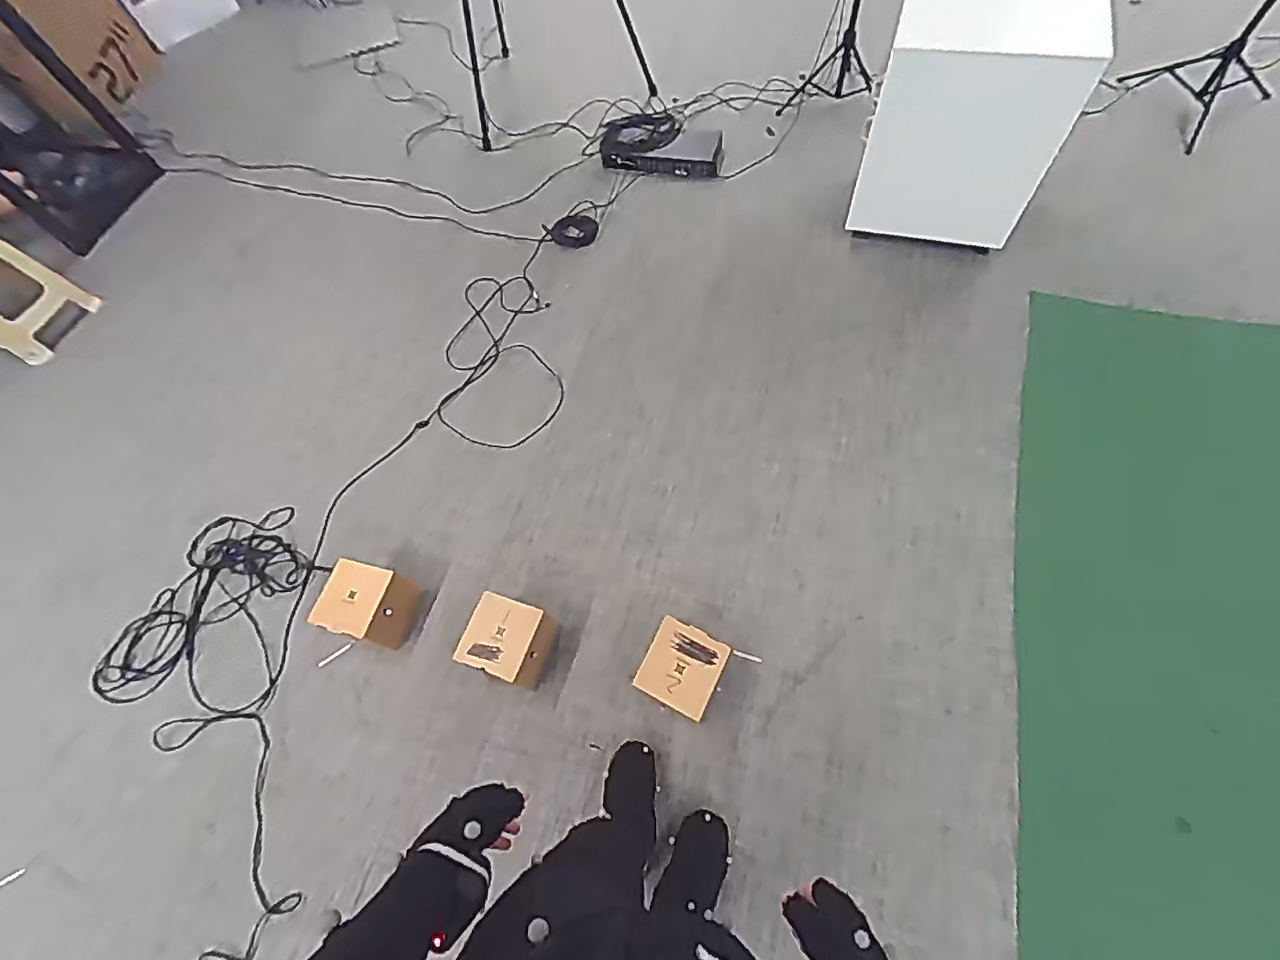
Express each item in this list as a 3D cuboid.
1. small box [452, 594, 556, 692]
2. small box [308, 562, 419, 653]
[{"bbox_3d":[-0.325,0.409,1.339,0.168,0.176,0.179,15,65,14],"label":"small box"},{"bbox_3d":[-0.713,0.340,1.423,0.168,0.176,0.179,10,65,12],"label":"small box"}]
